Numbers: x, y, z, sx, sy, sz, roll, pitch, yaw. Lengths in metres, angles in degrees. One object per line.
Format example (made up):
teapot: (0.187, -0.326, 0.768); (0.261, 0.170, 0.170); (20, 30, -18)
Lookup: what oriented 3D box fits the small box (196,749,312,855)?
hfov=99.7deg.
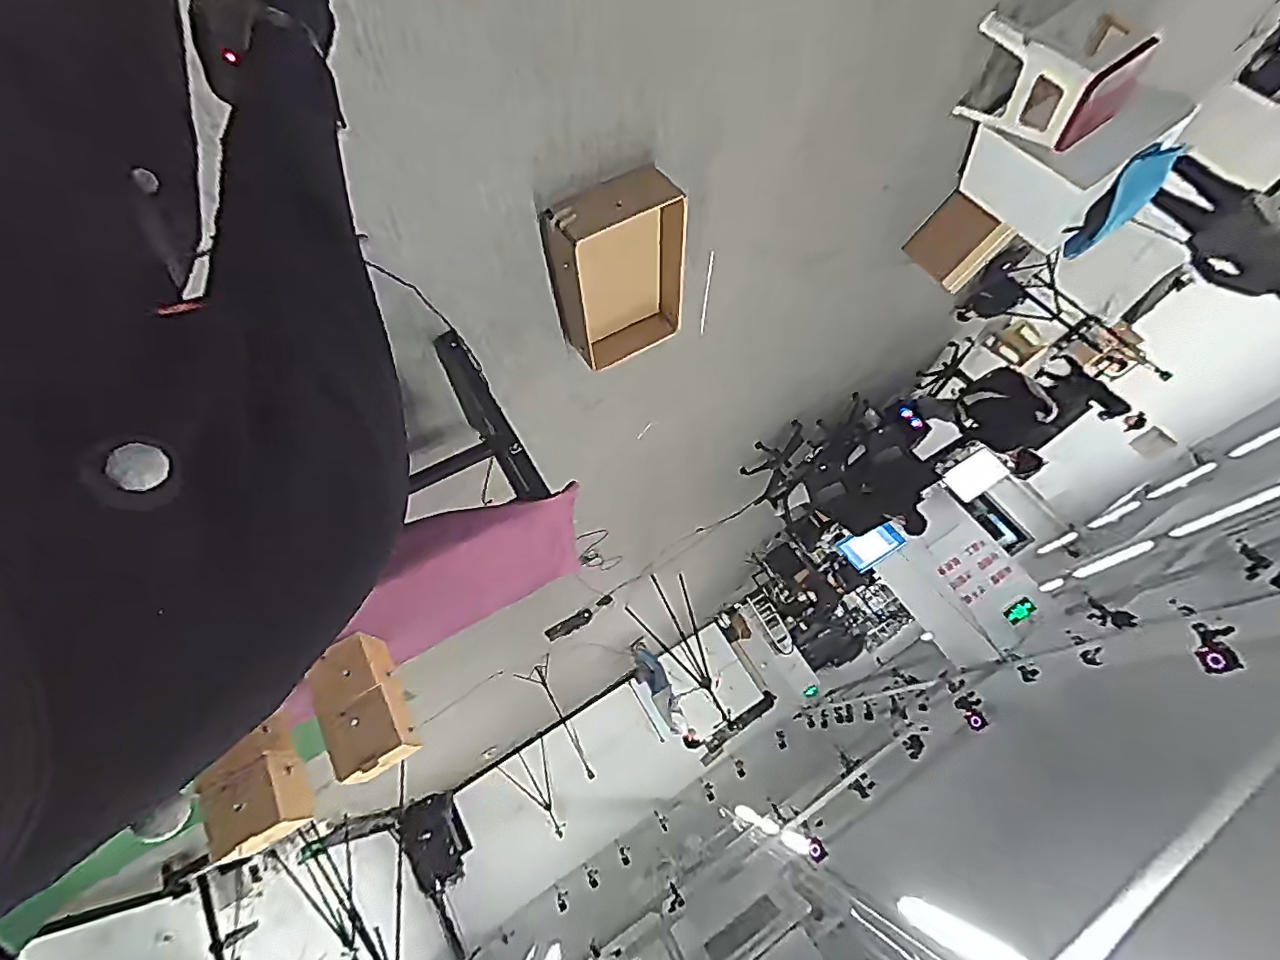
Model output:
small box: (-0.987, 0.815, 1.385); (0.168, 0.176, 0.179); (-27, 156, -16)

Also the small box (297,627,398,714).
small box: (-0.807, 0.527, 1.494); (0.168, 0.176, 0.179); (-29, 158, -14)

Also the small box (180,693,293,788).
small box: (-1.078, 0.693, 1.446); (0.168, 0.176, 0.179); (-28, 157, -16)

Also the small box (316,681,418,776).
small box: (-0.723, 0.658, 1.437); (0.168, 0.176, 0.179); (-28, 157, -17)
